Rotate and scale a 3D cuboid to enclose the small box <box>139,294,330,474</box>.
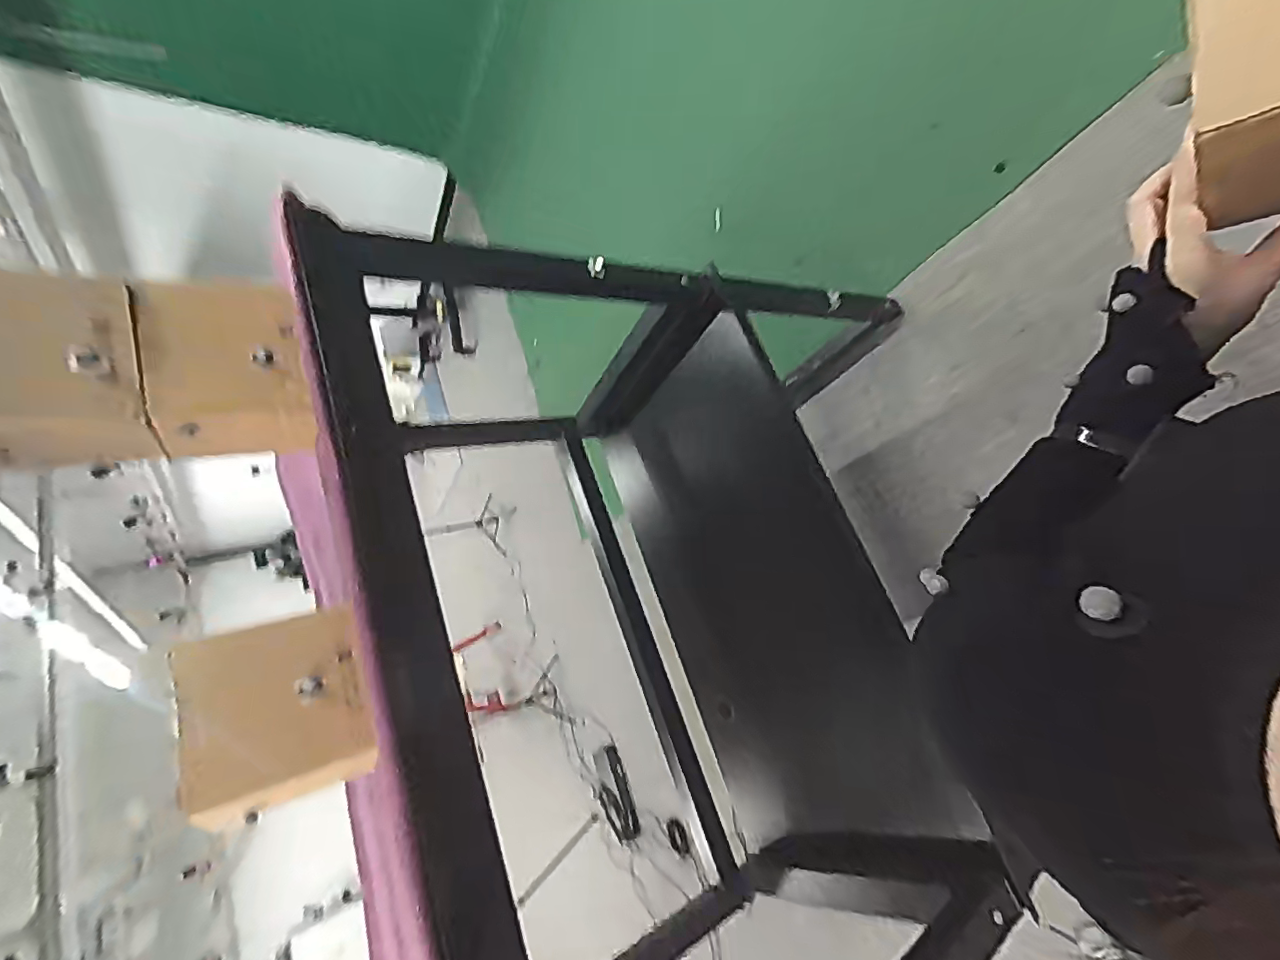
[{"bbox_3d":[-0.511,-0.116,0.698,0.179,0.176,0.168,-28,76,52],"label":"small box"}]

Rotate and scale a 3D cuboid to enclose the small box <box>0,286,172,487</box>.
[{"bbox_3d":[-0.637,-0.097,0.598,0.179,0.176,0.168,-21,82,52],"label":"small box"}]
